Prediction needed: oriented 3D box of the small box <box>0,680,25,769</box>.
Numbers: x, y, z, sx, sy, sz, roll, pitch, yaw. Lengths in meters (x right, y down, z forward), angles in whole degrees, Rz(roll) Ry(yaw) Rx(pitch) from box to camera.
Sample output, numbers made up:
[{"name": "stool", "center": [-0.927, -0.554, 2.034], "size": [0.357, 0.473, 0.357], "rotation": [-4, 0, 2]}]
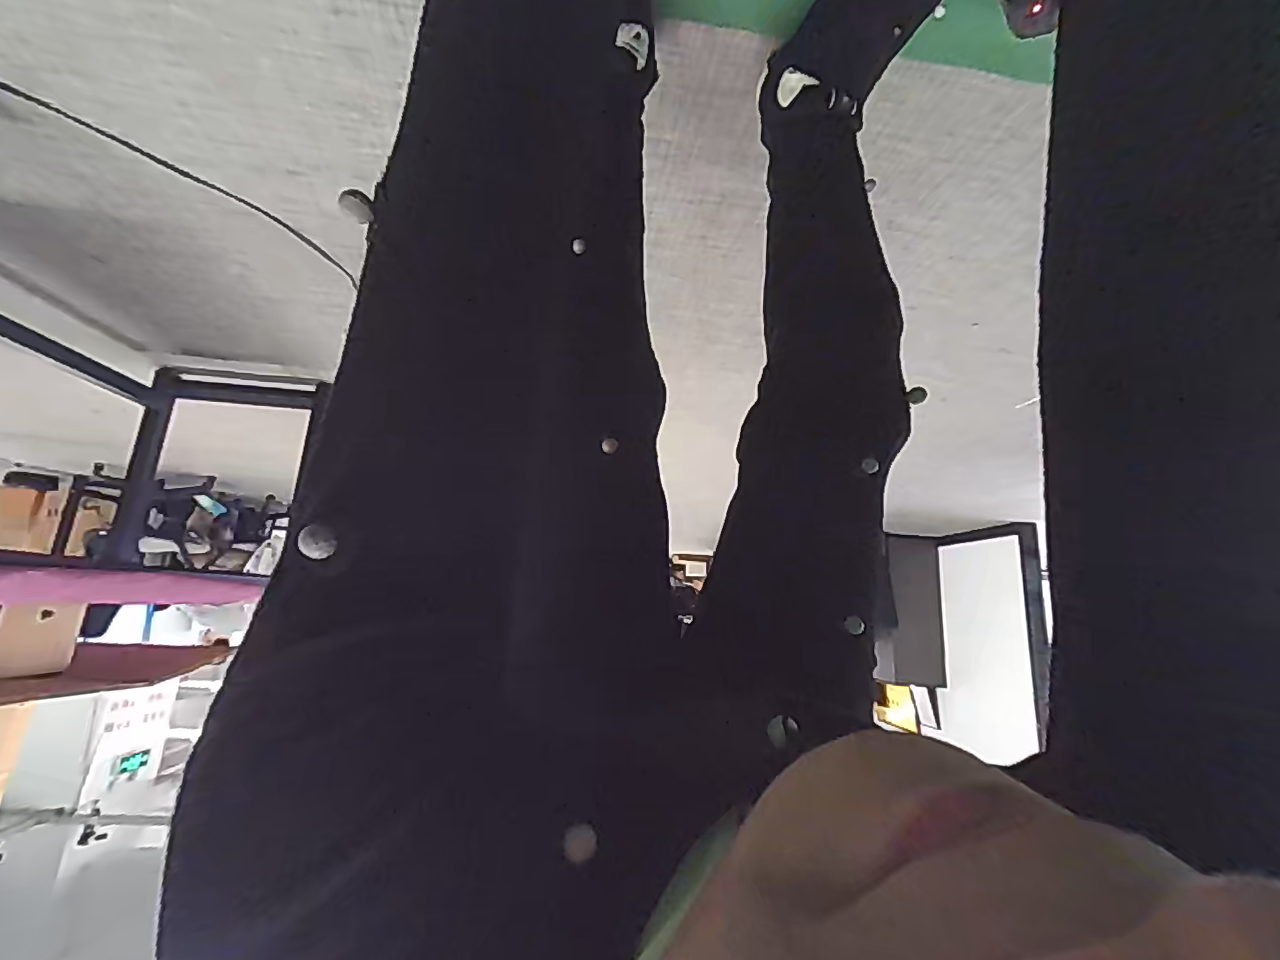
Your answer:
[{"name": "small box", "center": [-1.339, 0.468, 1.018], "size": [0.179, 0.176, 0.168], "rotation": [4, 164, -2]}]
